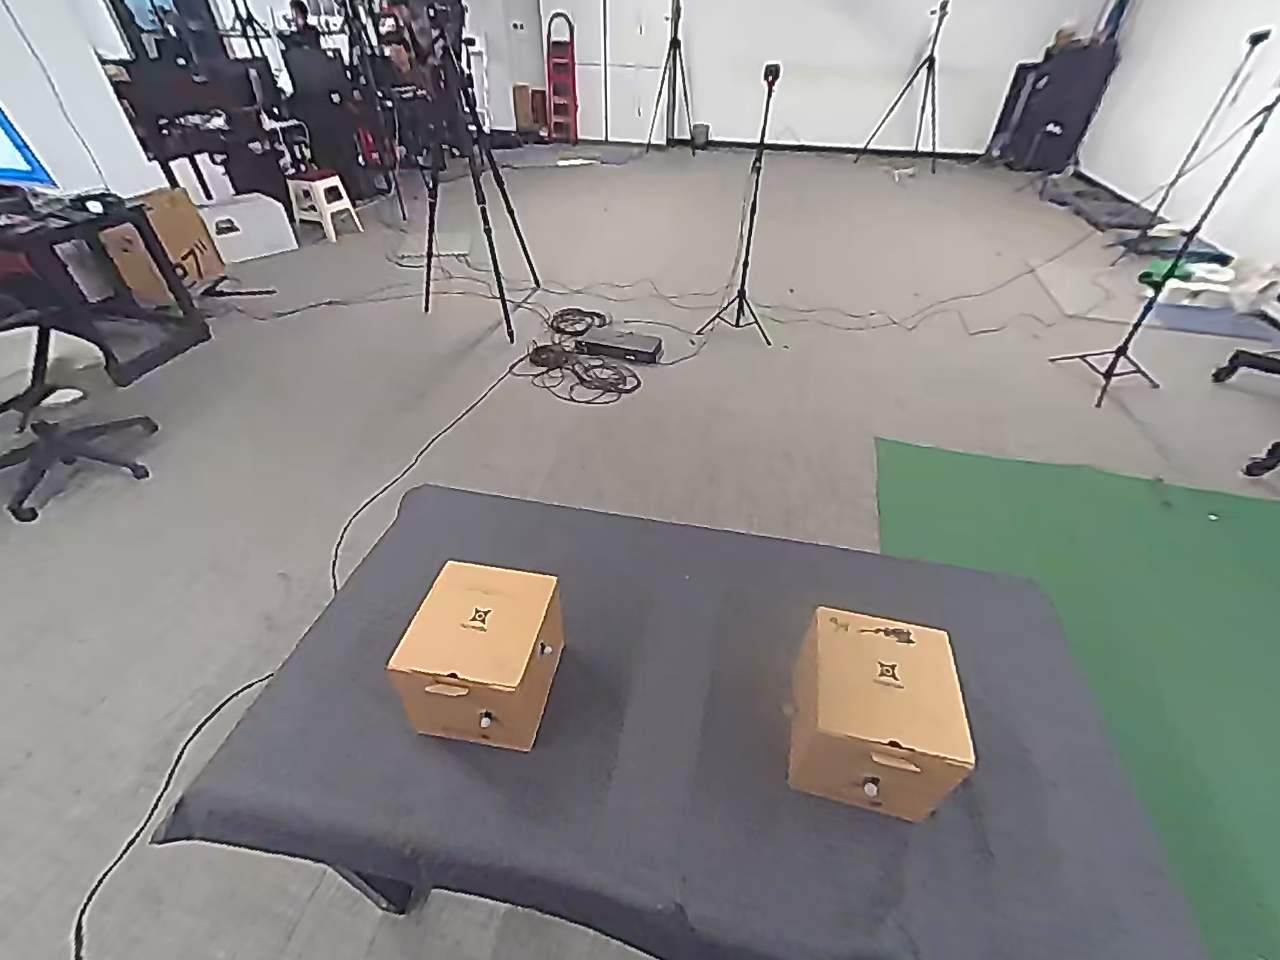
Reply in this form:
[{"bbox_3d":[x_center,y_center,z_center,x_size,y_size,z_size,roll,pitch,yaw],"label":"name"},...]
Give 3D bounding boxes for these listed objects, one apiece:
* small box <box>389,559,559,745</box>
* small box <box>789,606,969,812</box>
[{"bbox_3d":[-0.212,0.240,0.754,0.168,0.176,0.179,8,39,5],"label":"small box"},{"bbox_3d":[0.294,0.298,0.702,0.168,0.176,0.179,10,42,10],"label":"small box"}]
